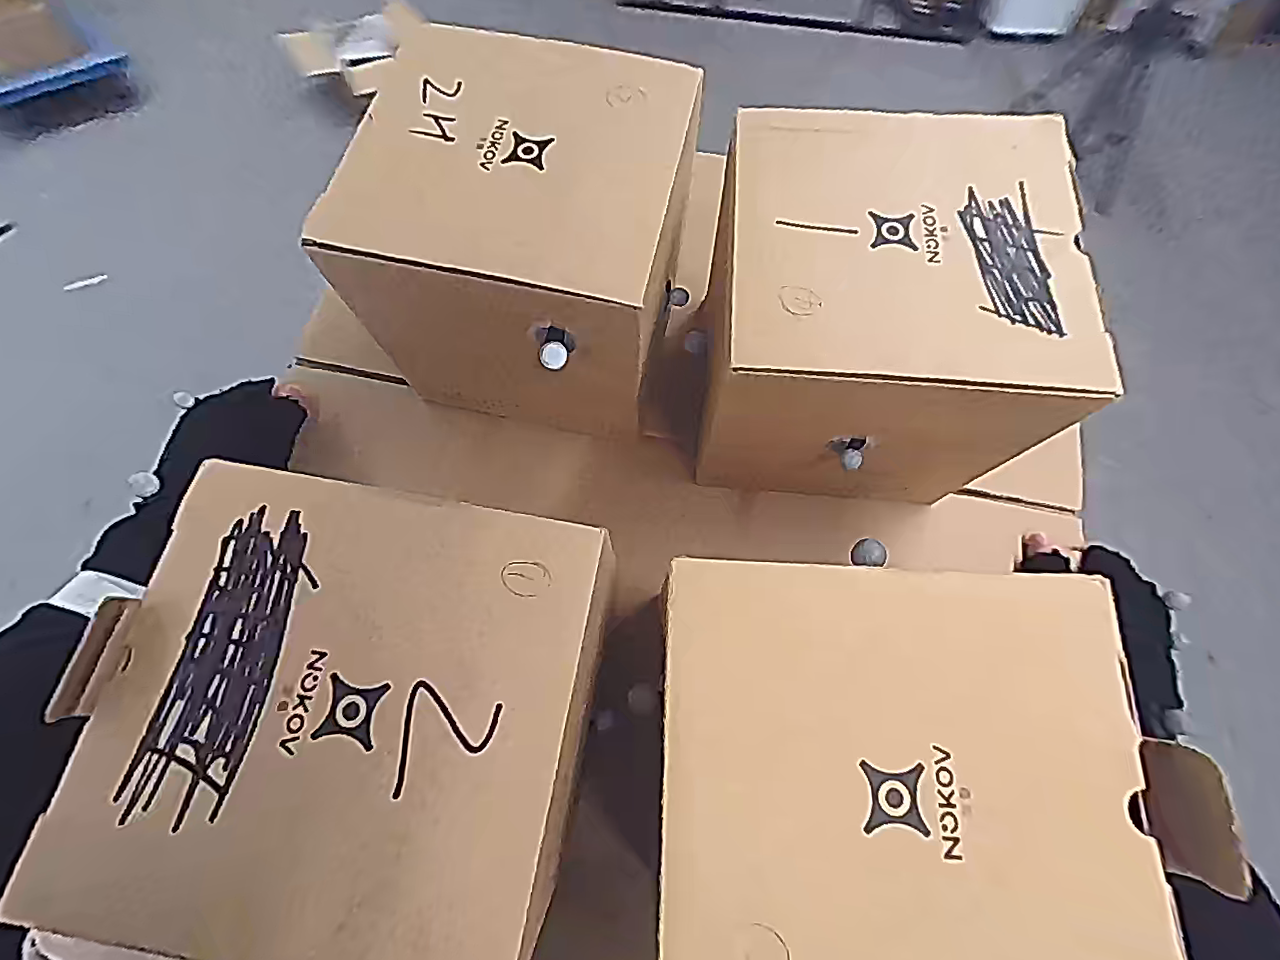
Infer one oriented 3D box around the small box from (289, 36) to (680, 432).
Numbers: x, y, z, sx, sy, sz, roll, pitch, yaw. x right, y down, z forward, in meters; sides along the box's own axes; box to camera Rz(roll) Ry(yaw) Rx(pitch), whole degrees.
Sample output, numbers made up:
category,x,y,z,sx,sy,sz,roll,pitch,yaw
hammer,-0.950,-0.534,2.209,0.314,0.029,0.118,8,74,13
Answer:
category,x,y,z,sx,sy,sz,roll,pitch,yaw
small box,-0.079,-0.147,0.370,0.179,0.176,0.168,12,71,4
